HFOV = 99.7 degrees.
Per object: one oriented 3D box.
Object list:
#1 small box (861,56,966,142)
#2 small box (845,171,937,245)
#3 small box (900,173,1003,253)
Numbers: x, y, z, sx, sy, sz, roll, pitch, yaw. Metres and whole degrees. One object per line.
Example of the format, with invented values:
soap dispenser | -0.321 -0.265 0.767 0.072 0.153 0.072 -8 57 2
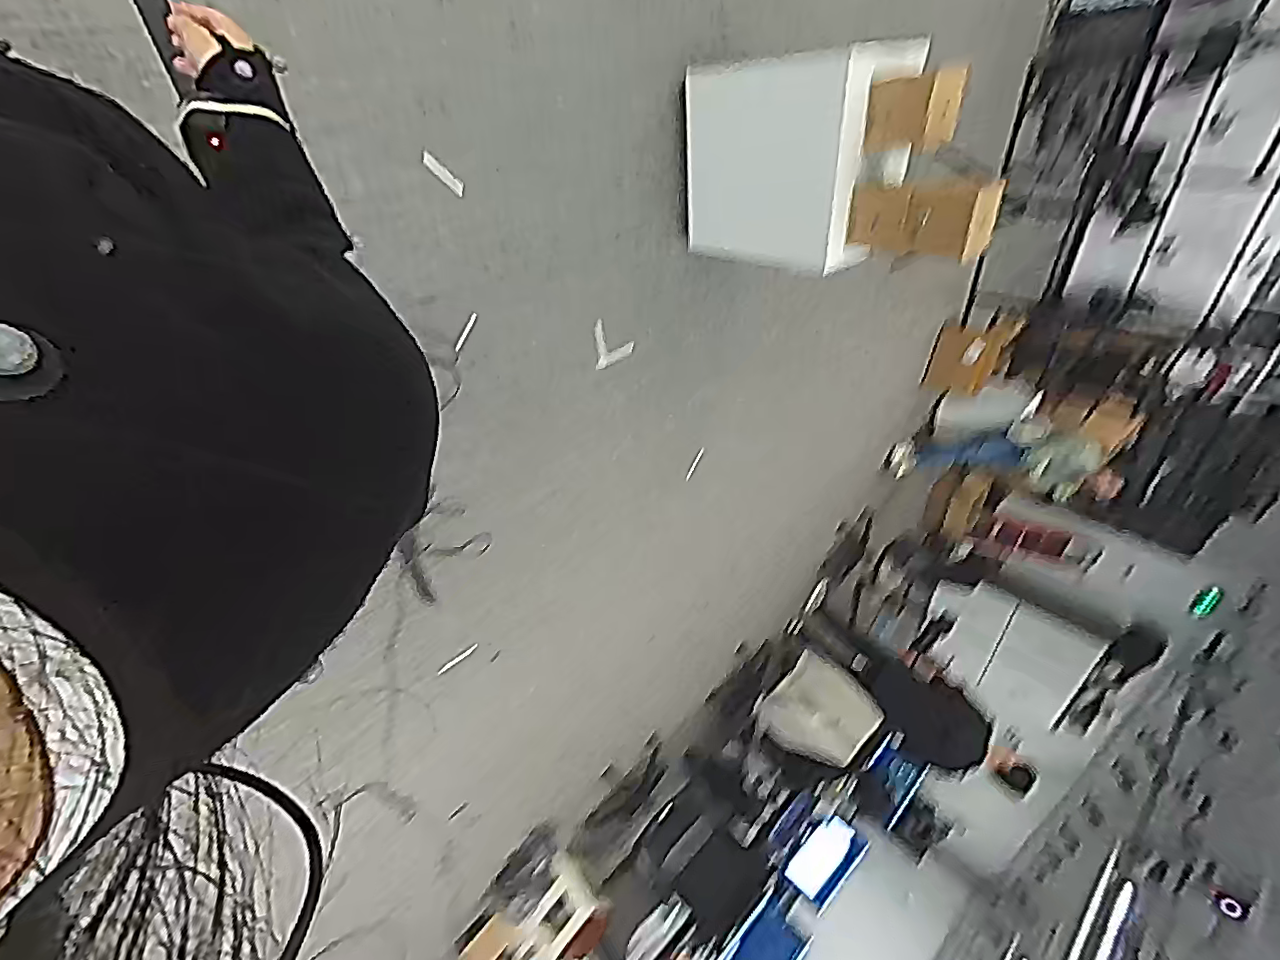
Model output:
small box | 0.710 -0.996 1.414 0.179 0.176 0.168 -33 134 -29
small box | 0.715 -0.782 1.553 0.179 0.176 0.168 -30 131 -30
small box | 0.833 -0.724 1.456 0.179 0.176 0.168 -32 131 -30
